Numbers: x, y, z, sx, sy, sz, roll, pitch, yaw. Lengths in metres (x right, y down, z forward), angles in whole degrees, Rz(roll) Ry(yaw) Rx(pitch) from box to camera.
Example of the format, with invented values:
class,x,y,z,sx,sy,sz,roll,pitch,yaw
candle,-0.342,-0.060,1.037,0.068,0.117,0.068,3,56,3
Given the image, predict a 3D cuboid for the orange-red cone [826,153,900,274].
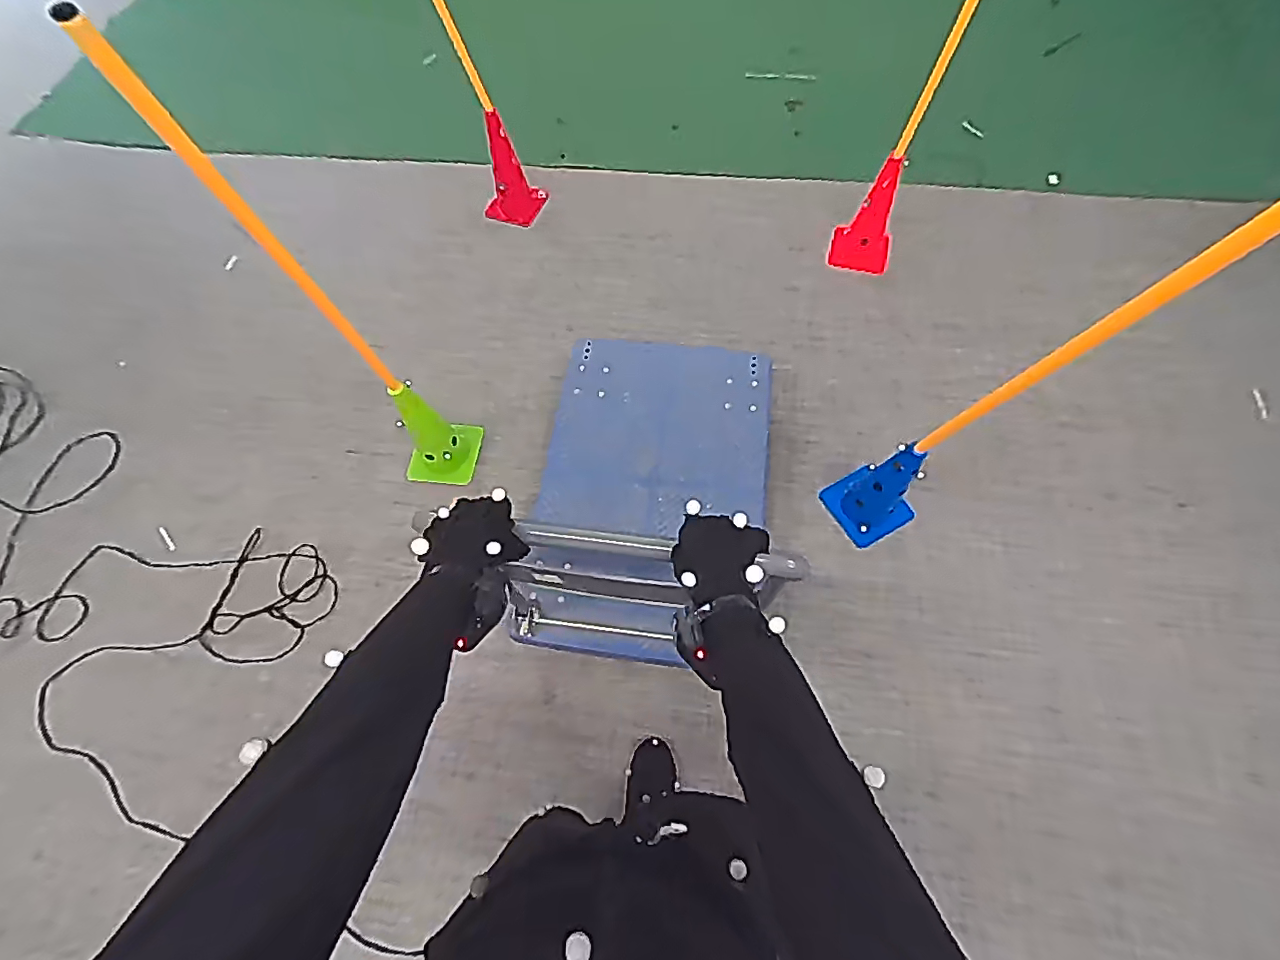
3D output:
class,x,y,z,sx,sy,sz,roll,pitch,yaw
orange-red cone,0.763,-0.883,1.758,0.198,0.360,0.199,16,68,11
